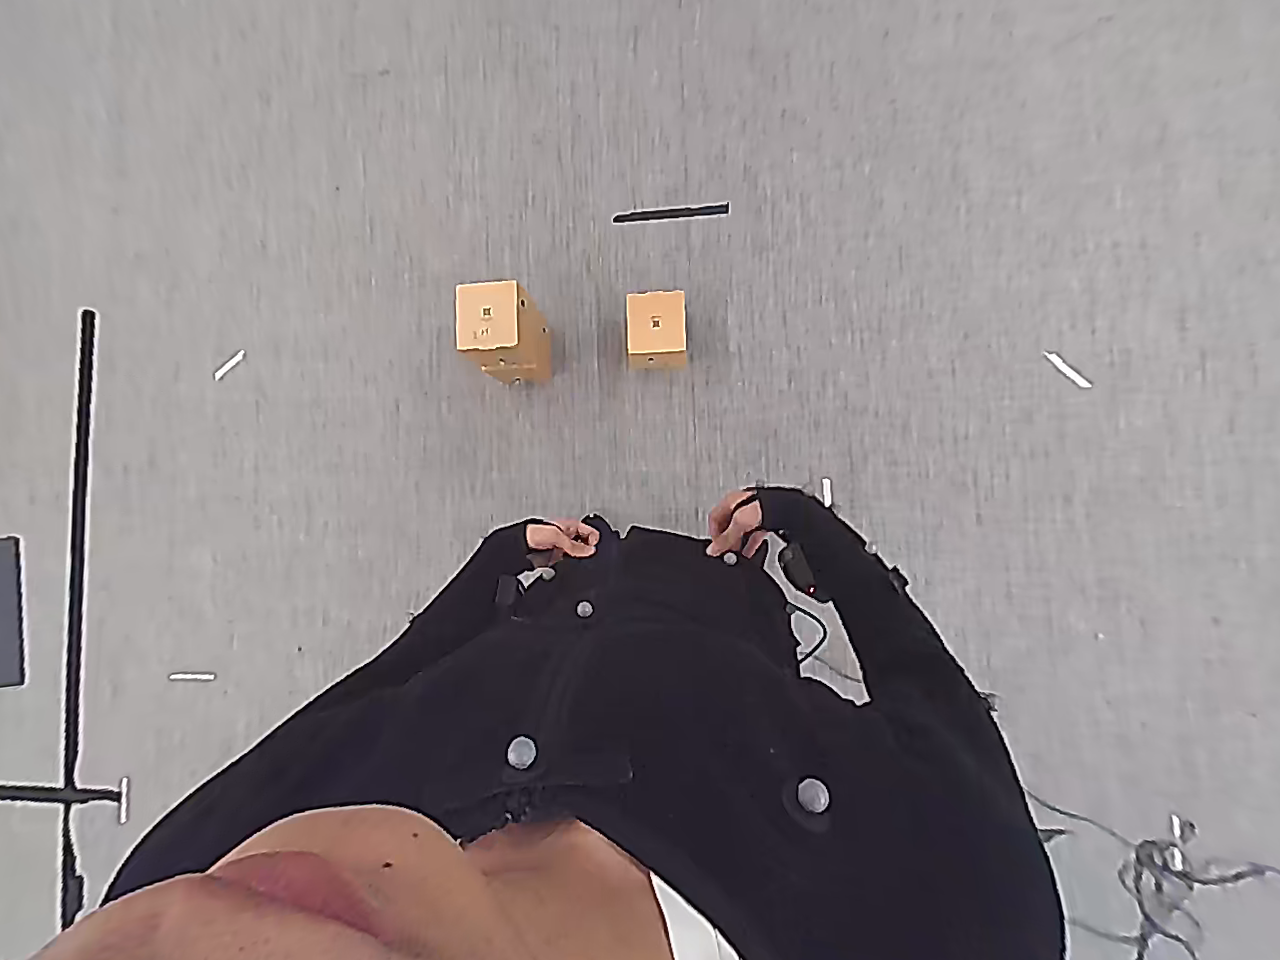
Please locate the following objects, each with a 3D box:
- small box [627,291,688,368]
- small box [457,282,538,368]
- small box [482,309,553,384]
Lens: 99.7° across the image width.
[{"bbox_3d":[0.054,-0.430,1.581,0.168,0.176,0.179,-3,86,5],"label":"small box"},{"bbox_3d":[-0.378,-0.411,1.452,0.168,0.176,0.179,-2,87,7],"label":"small box"},{"bbox_3d":[-0.362,-0.394,1.614,0.168,0.176,0.179,-2,87,6],"label":"small box"}]
